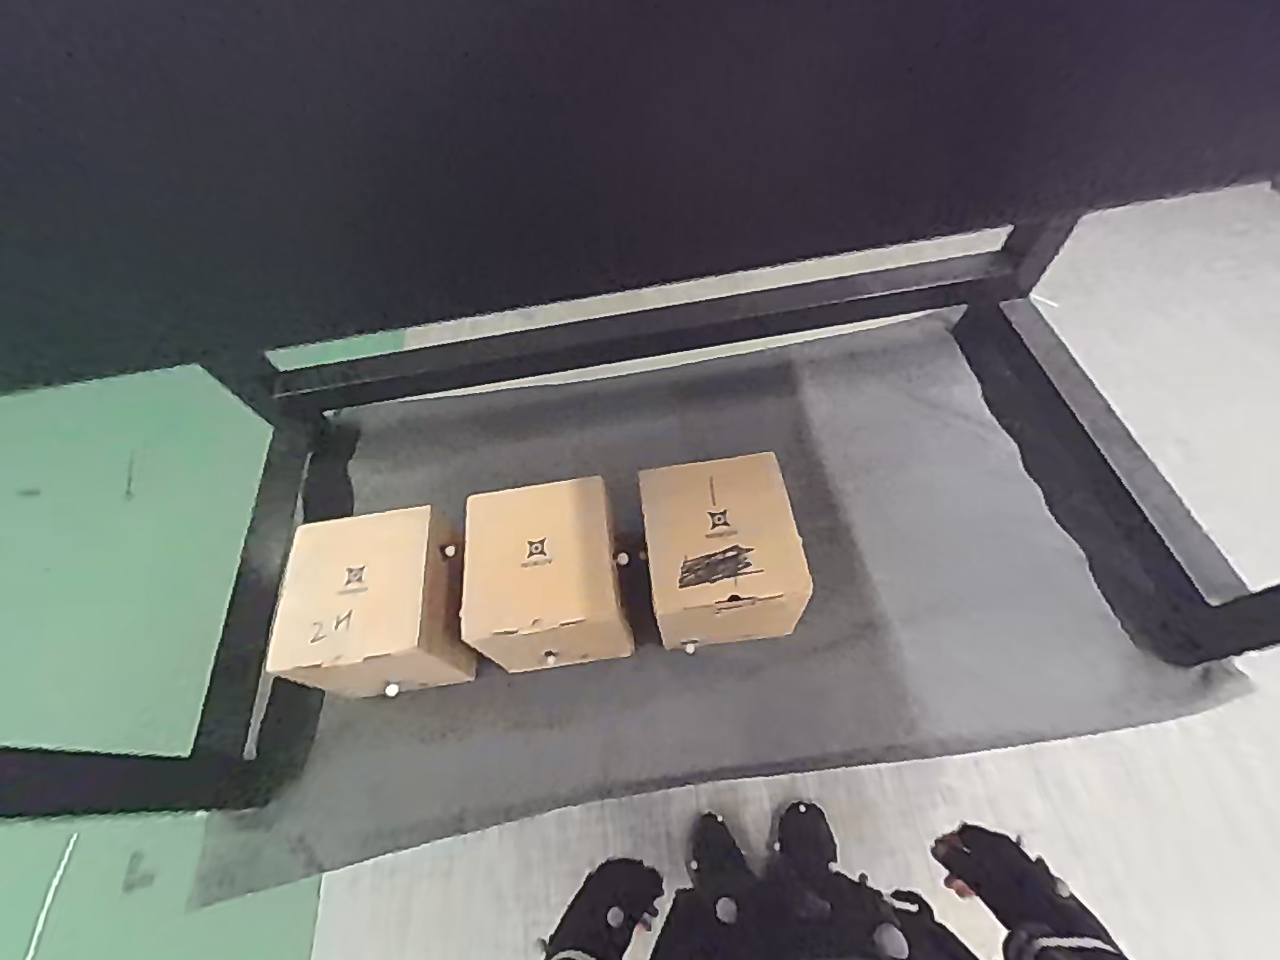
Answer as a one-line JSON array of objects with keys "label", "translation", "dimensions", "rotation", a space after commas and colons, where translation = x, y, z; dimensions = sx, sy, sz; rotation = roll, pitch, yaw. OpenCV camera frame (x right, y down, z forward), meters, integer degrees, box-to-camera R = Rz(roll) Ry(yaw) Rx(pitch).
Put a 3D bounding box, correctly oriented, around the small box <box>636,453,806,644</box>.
[{"label": "small box", "translation": [0.092, 0.093, 0.664], "dimensions": [0.168, 0.176, 0.179], "rotation": [-8, 58, 2]}]
